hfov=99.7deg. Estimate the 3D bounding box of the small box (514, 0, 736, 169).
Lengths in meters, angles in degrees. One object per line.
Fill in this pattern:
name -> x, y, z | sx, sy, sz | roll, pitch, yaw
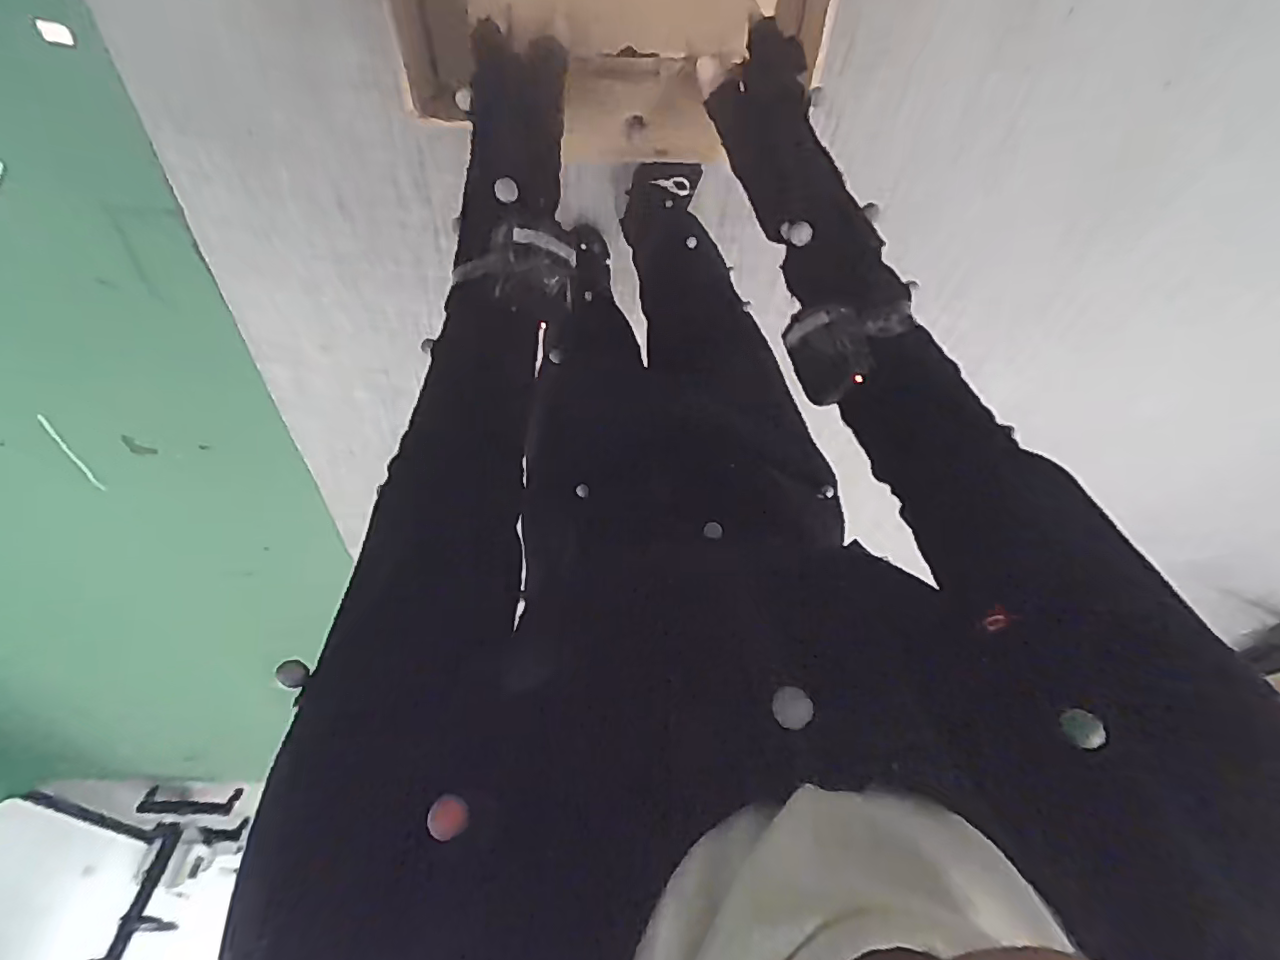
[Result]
small box -> -0.004, -0.387, 0.464 | 0.168, 0.176, 0.179 | 0, 98, 5
